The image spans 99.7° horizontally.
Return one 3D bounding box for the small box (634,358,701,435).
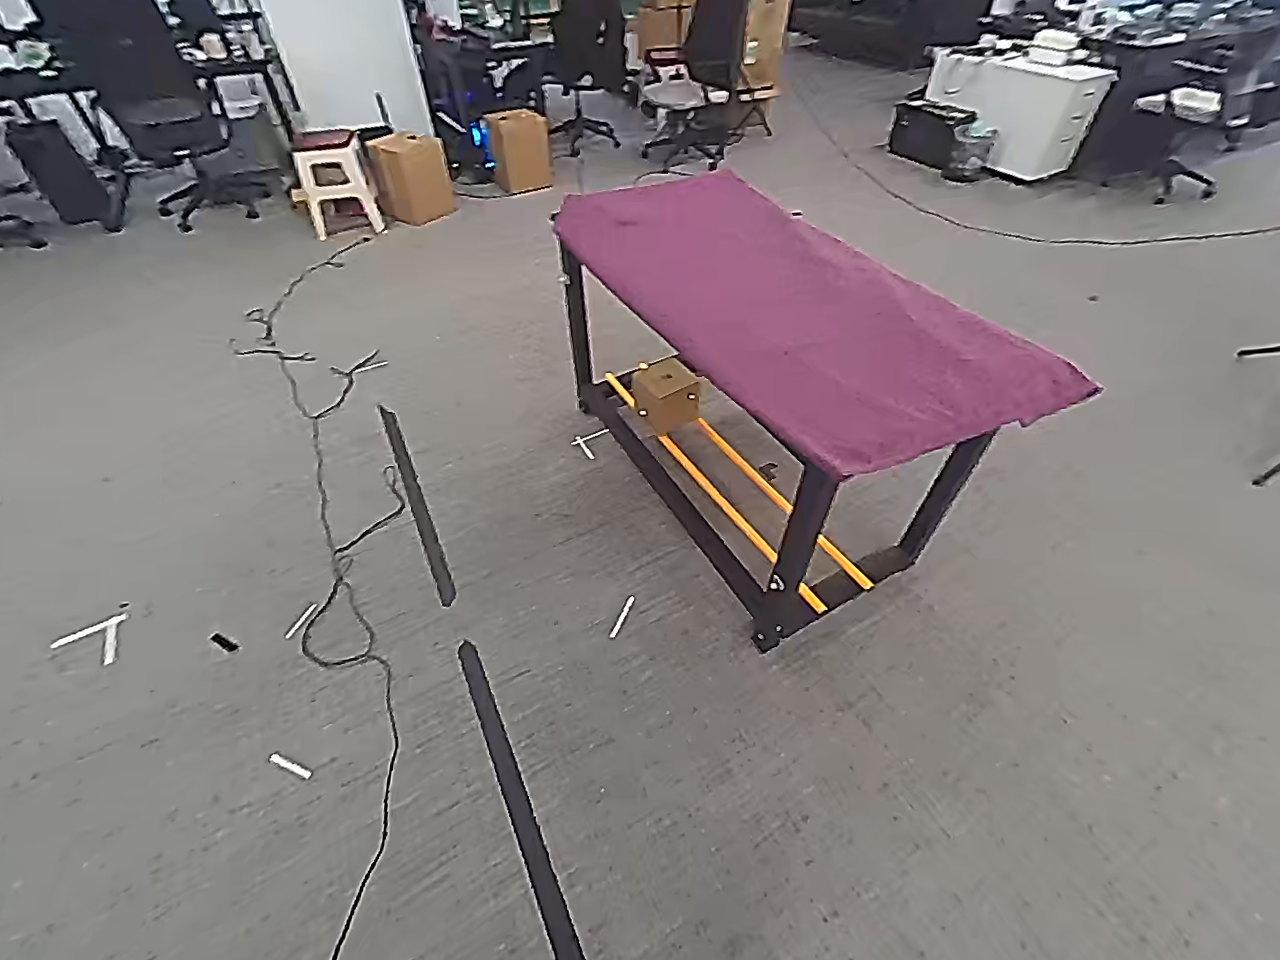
[{"bbox_3d":[0.092,-0.288,1.872,0.179,0.176,0.168,-27,52,-19],"label":"small box"}]
